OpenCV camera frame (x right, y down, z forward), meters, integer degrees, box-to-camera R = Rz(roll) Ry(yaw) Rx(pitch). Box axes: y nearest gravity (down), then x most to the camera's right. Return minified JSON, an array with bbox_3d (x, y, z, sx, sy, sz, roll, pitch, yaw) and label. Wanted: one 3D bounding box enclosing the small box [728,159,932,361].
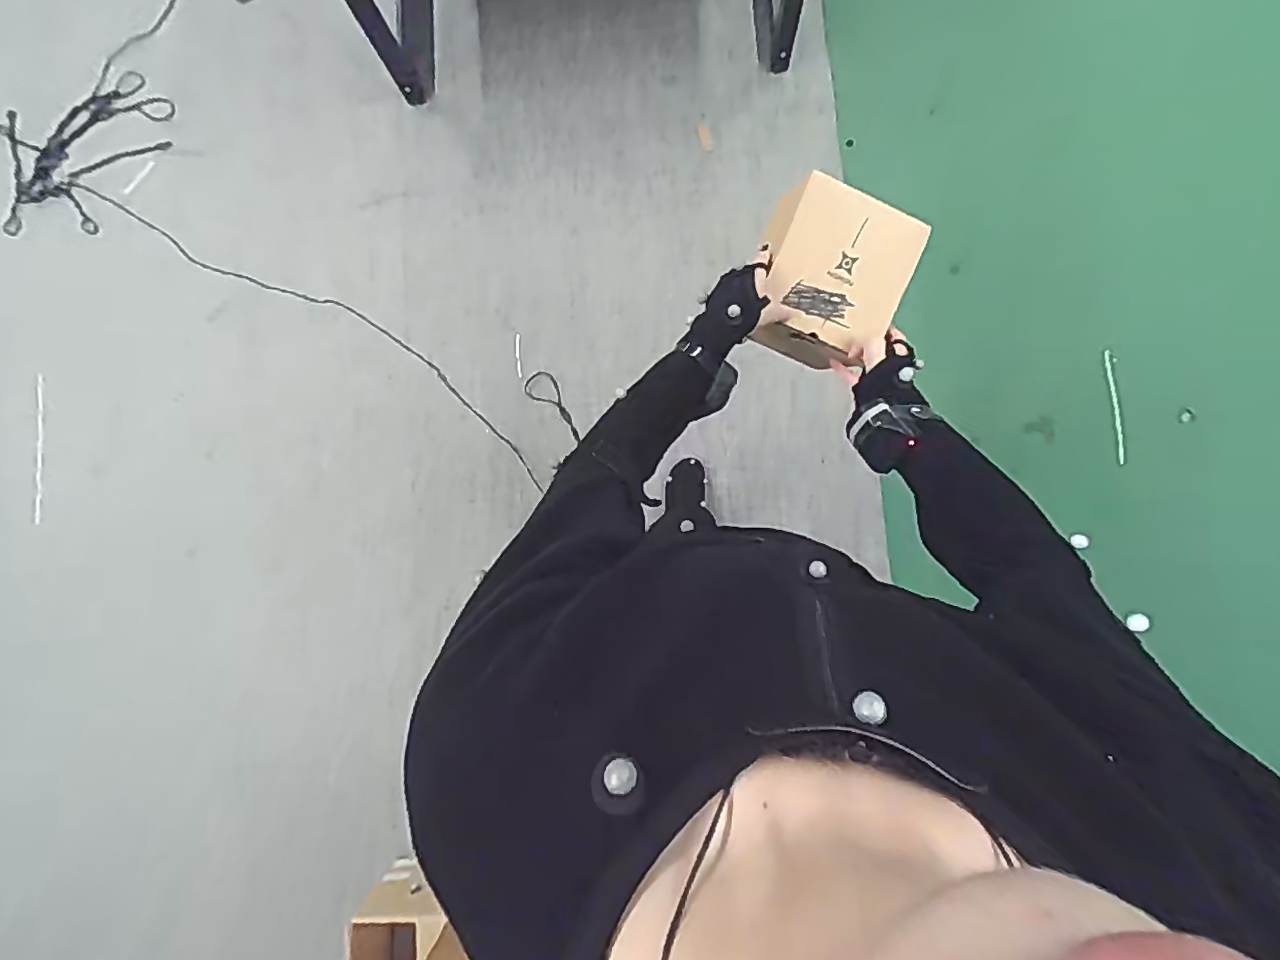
[{"bbox_3d":[0.230,-0.268,0.709,0.168,0.176,0.179,22,96,-8],"label":"small box"}]
